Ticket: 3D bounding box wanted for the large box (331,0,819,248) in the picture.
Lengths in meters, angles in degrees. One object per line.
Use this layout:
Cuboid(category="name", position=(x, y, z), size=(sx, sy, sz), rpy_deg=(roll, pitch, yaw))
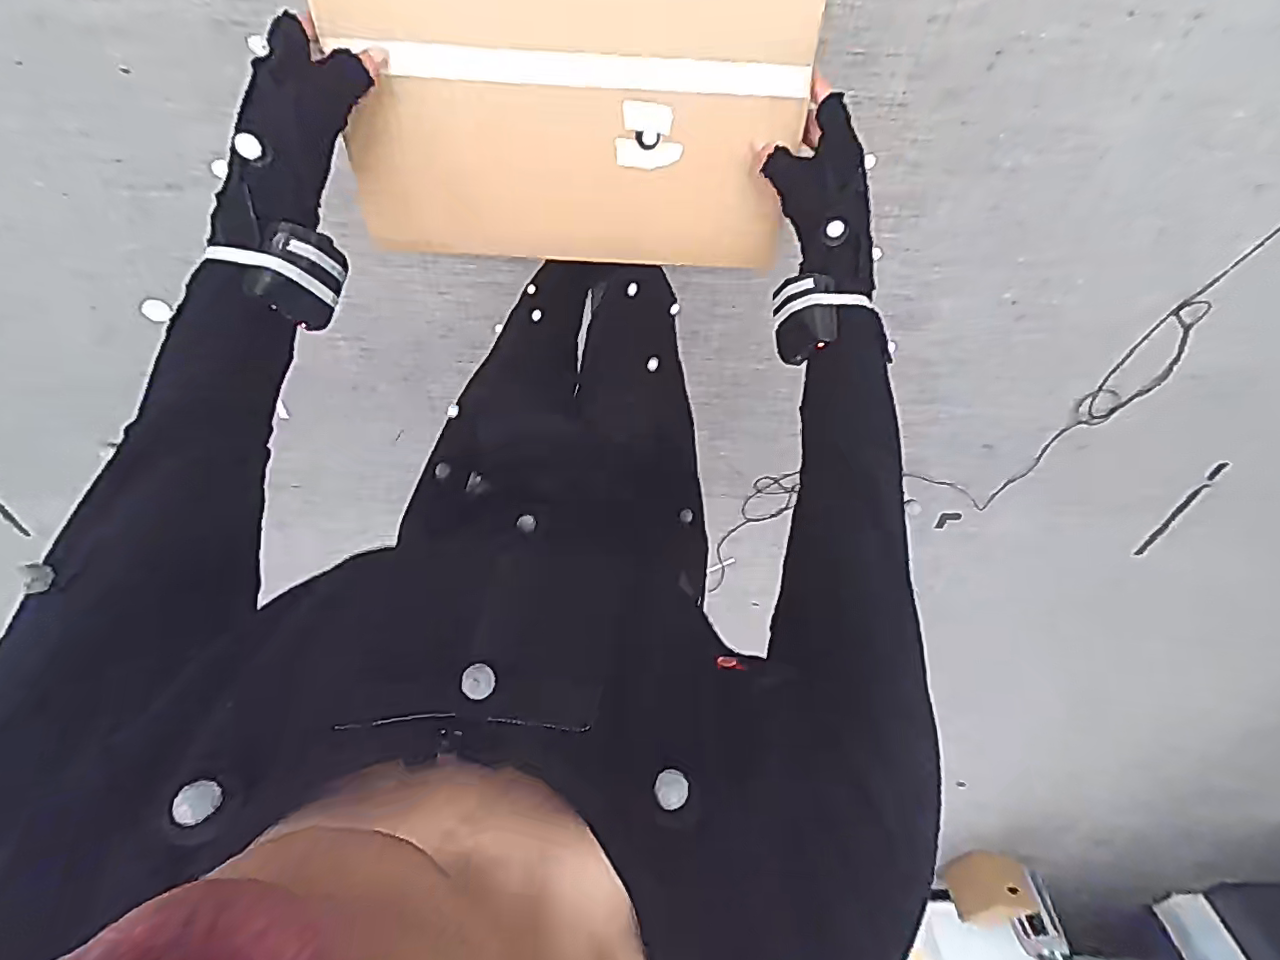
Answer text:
Cuboid(category="large box", position=(-0.057, -0.455, 0.576), size=(0.408, 0.320, 0.320), rpy_deg=(1, 130, -3))
